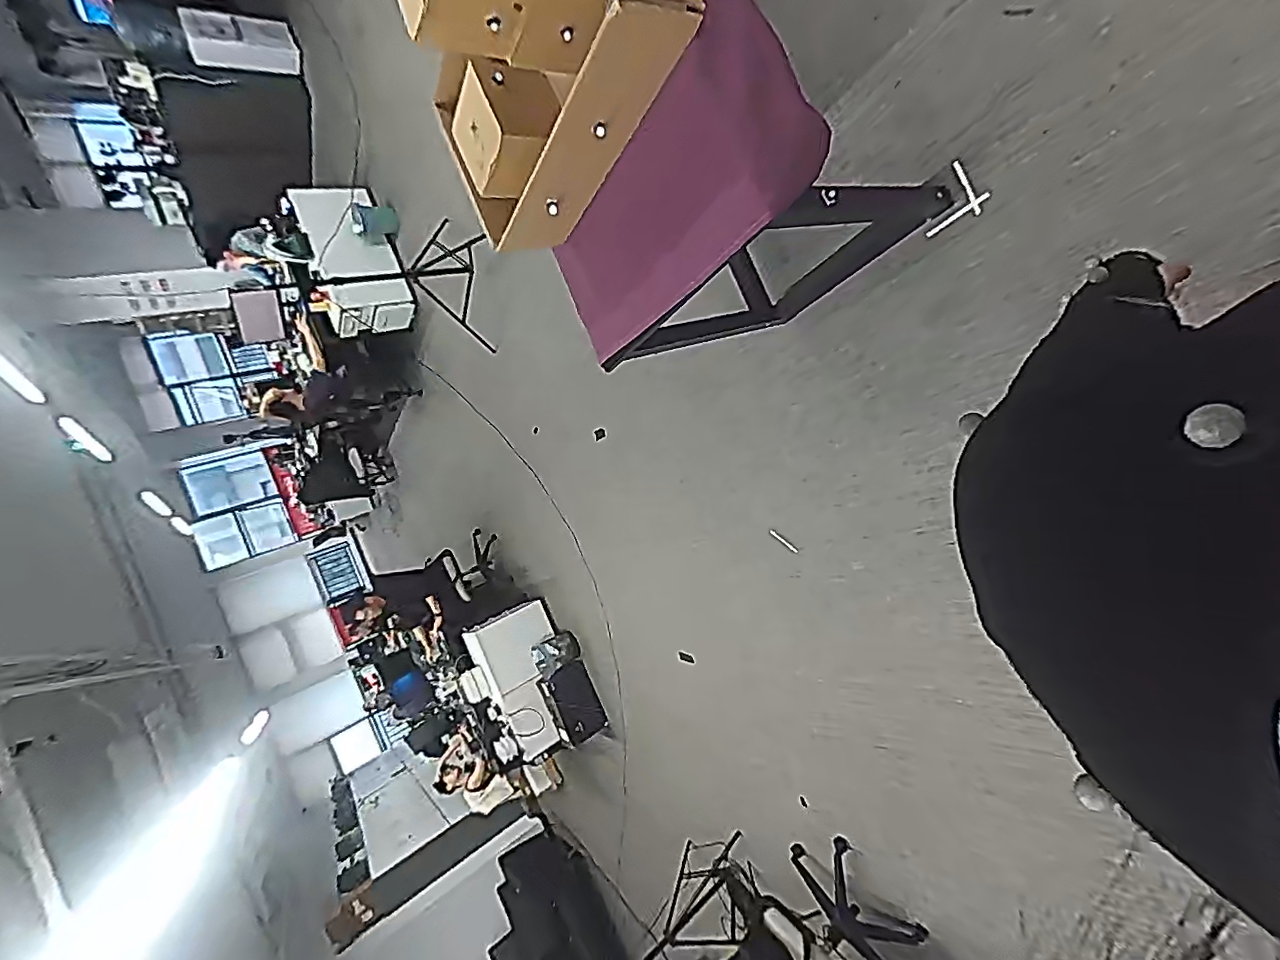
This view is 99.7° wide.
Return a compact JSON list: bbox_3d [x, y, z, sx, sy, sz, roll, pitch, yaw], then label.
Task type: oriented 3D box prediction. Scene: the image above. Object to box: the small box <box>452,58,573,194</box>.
[{"bbox_3d":[-0.267,-0.726,1.133,0.168,0.176,0.179,-32,81,55],"label":"small box"}]
